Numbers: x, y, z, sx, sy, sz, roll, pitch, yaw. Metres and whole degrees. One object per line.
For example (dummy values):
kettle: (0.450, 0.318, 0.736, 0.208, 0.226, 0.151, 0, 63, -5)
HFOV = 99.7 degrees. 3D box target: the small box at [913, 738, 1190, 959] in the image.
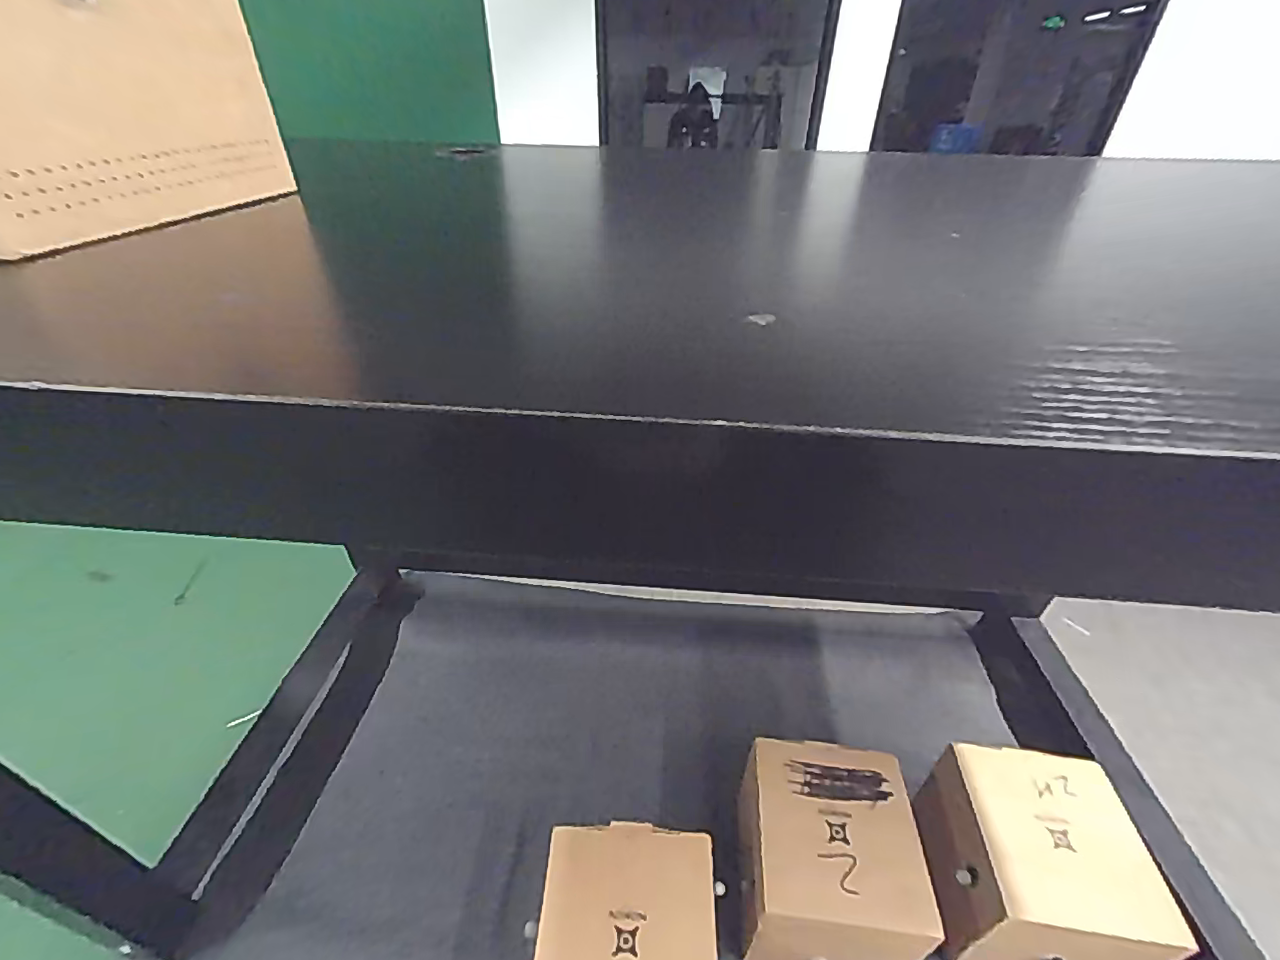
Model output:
small box: (0.438, 0.431, 0.617, 0.168, 0.176, 0.179, 5, 36, 6)
